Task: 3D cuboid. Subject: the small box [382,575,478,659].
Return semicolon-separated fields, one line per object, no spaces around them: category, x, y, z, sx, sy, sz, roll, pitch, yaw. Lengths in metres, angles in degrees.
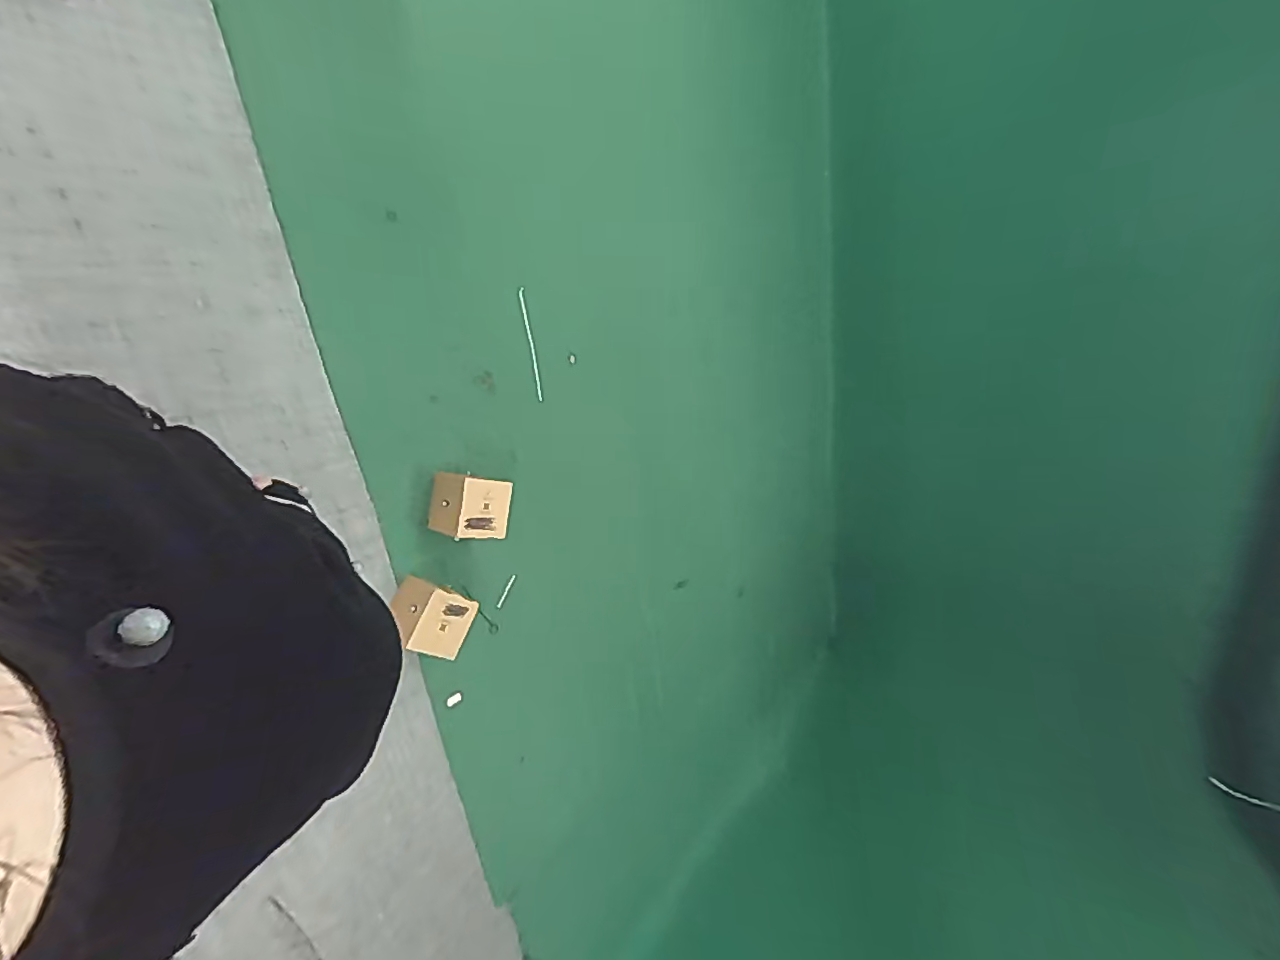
small box;-0.616;0.396;1.579;0.168;0.176;0.179;39;69;-46
